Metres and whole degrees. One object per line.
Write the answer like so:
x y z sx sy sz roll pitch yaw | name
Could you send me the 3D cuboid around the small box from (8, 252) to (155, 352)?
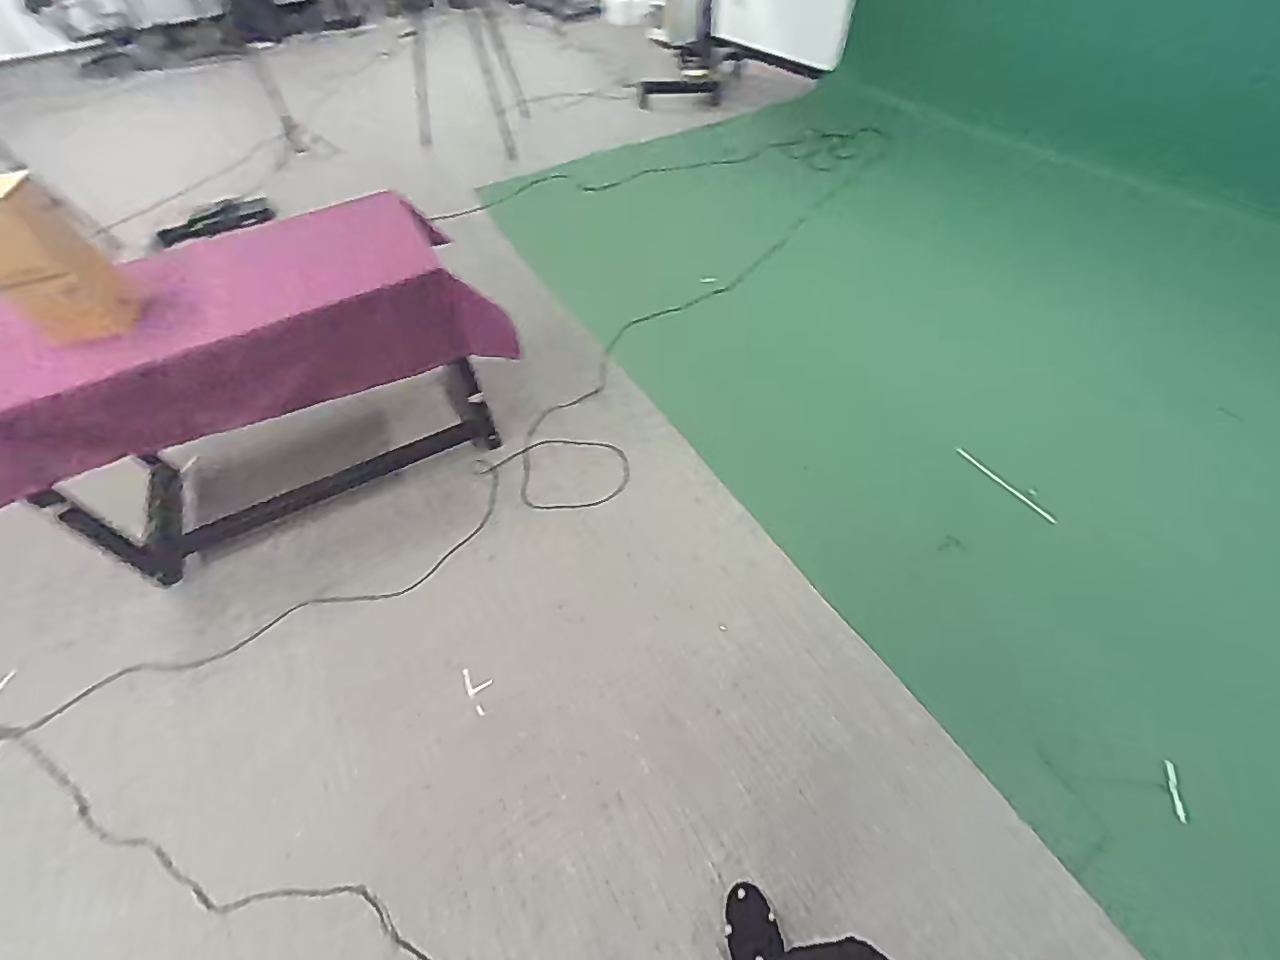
-1.410 -0.450 1.380 0.179 0.176 0.168 -16 51 -9 | small box
